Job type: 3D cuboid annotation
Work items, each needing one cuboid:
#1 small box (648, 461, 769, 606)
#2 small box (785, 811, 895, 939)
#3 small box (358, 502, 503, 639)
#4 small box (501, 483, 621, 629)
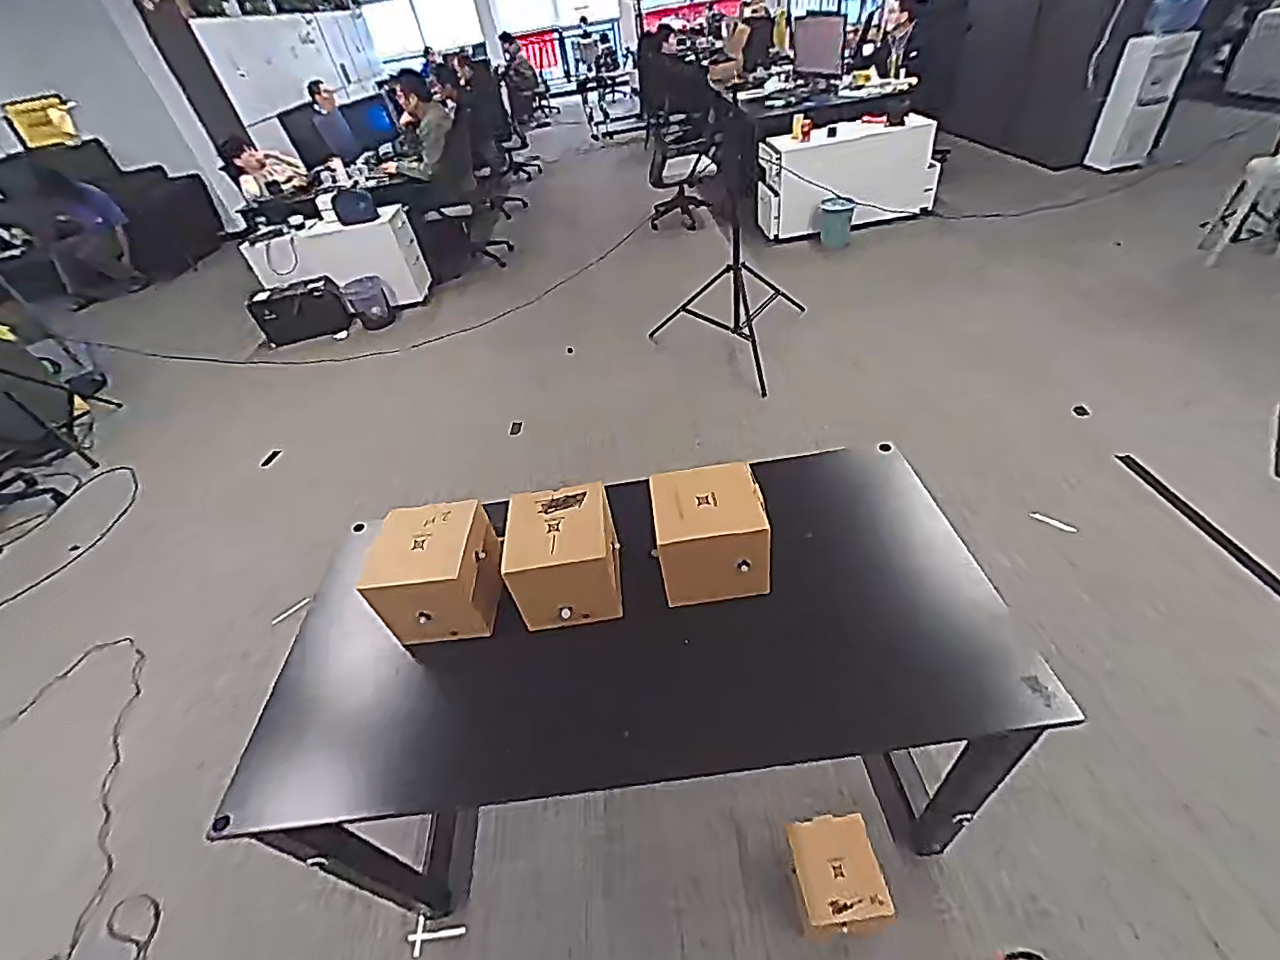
[{"bbox_3d":[0.116,0.094,0.932,0.179,0.176,0.168,-10,41,3],"label":"small box"},{"bbox_3d":[0.409,0.836,1.144,0.168,0.176,0.179,-10,41,2],"label":"small box"},{"bbox_3d":[-0.351,0.164,0.951,0.168,0.176,0.179,-6,42,3],"label":"small box"},{"bbox_3d":[-0.129,0.132,0.939,0.168,0.176,0.179,-9,43,2],"label":"small box"}]
